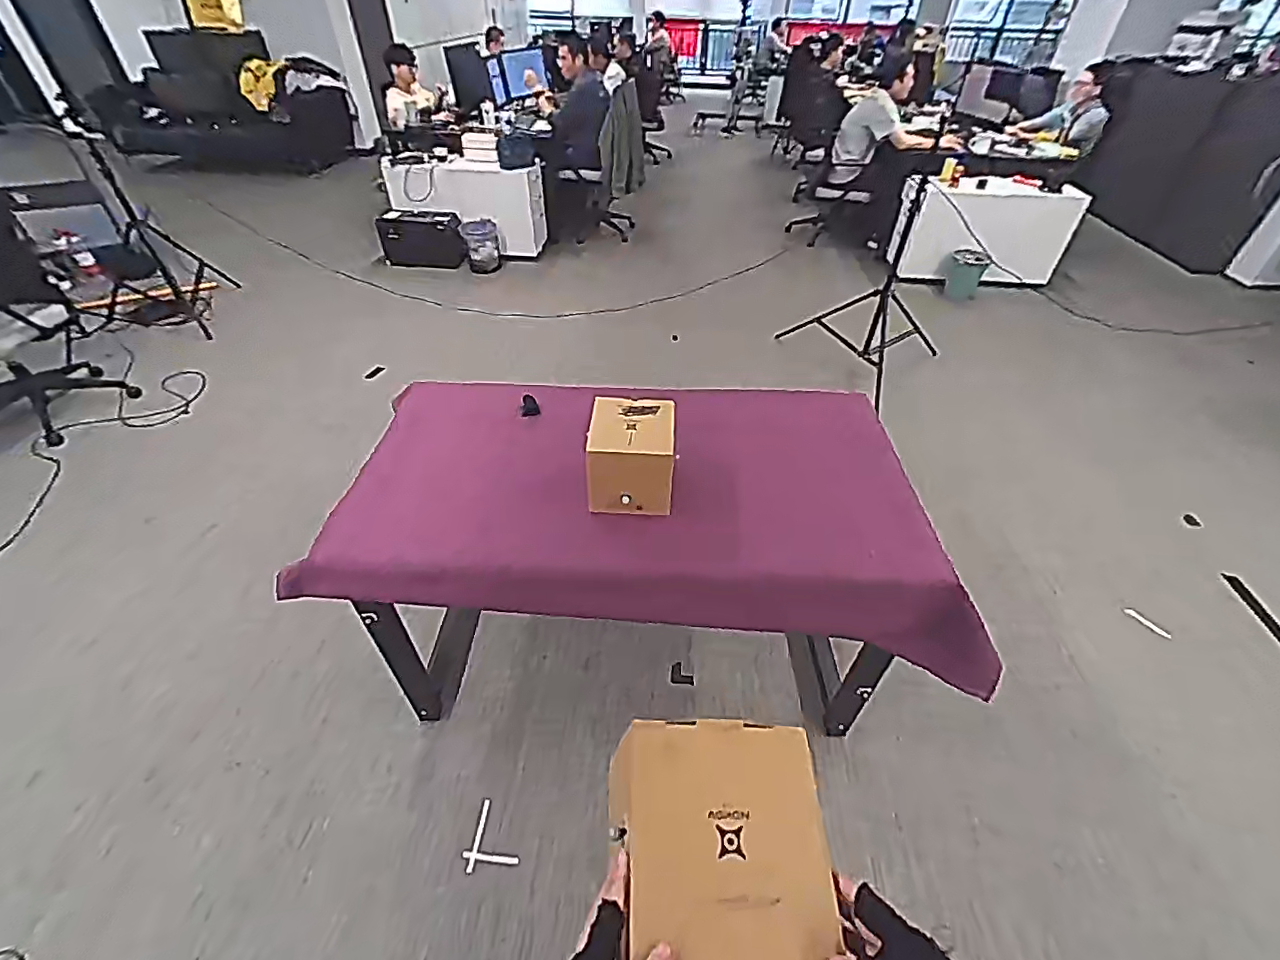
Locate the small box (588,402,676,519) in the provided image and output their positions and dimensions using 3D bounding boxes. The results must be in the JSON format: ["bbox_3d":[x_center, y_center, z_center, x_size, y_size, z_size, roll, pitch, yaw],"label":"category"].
[{"bbox_3d":[-0.014,-0.042,1.119,0.168,0.176,0.179,2,42,2],"label":"small box"}]

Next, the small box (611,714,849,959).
[{"bbox_3d":[0.062,0.334,0.504,0.168,0.176,0.179,4,52,-7],"label":"small box"}]
